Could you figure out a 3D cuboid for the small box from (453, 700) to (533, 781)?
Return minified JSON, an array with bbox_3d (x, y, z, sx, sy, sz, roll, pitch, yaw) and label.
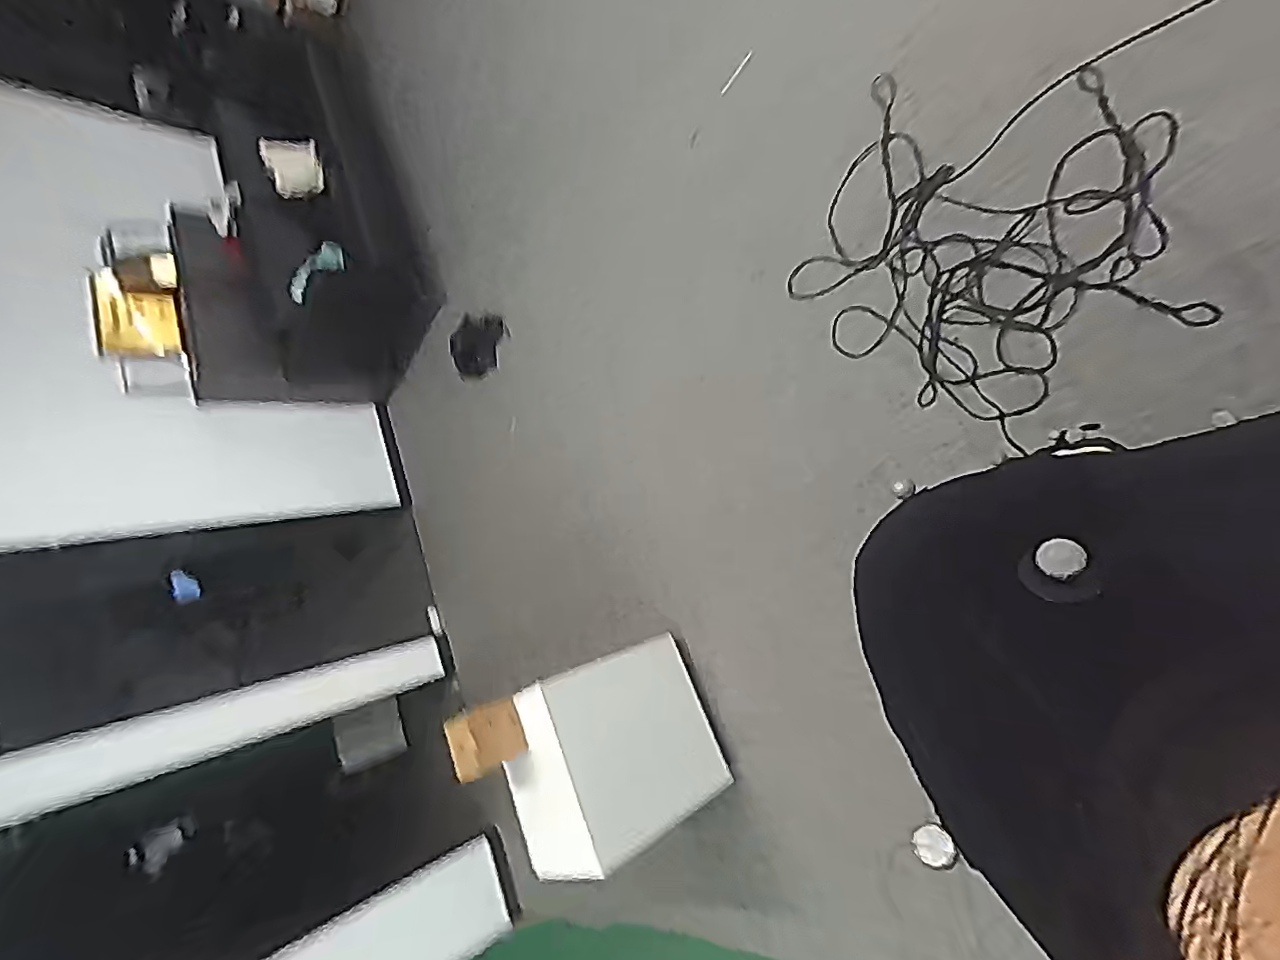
[{"bbox_3d":[-0.450,0.802,1.671,0.179,0.176,0.168,-42,64,42],"label":"small box"}]
